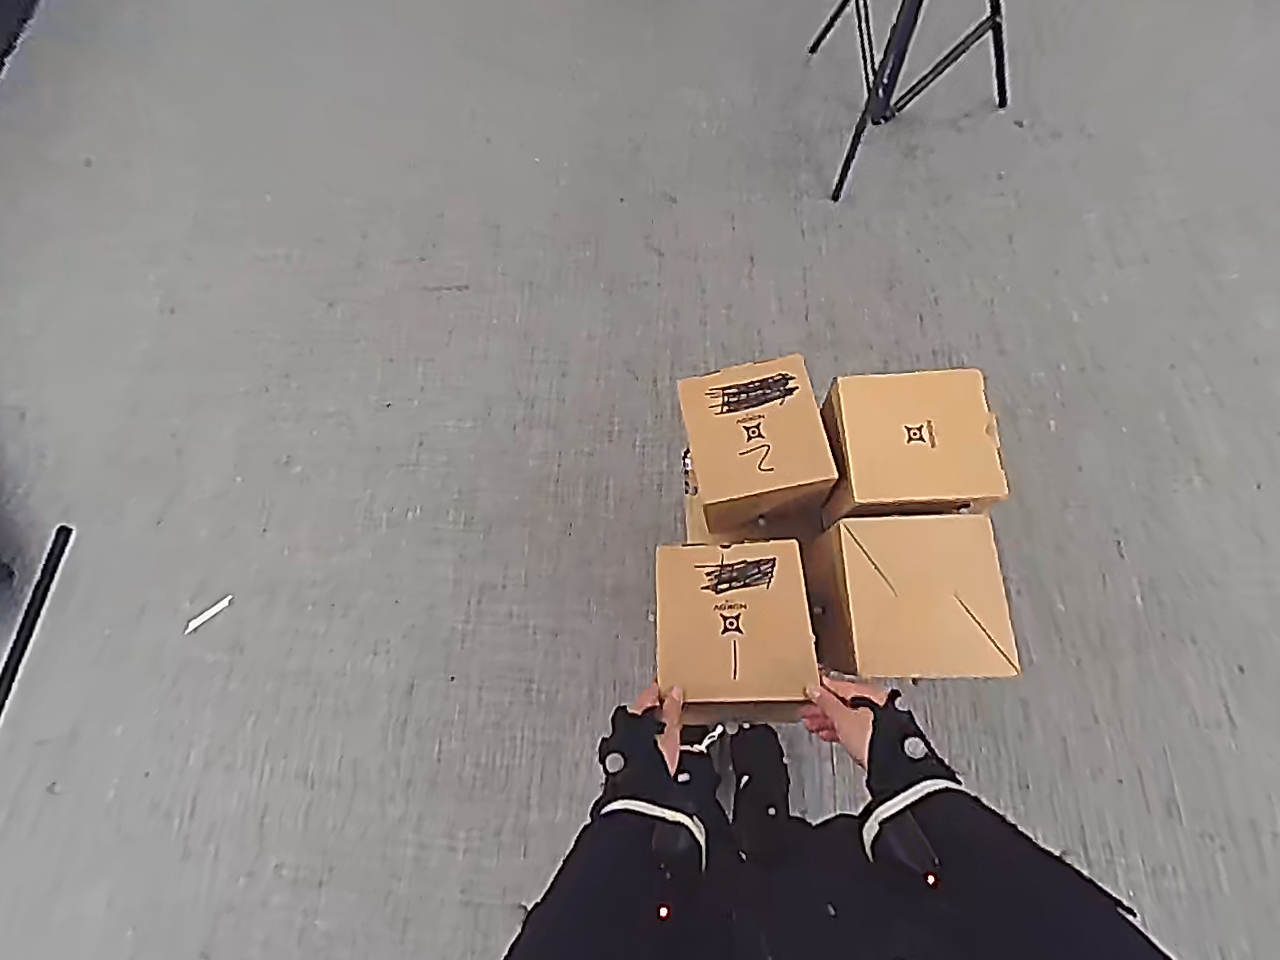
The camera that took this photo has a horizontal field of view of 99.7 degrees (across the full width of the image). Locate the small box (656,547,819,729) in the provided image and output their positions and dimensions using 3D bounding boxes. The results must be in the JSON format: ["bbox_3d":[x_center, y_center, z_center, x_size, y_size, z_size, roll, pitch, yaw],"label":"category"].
[{"bbox_3d":[0.109,0.196,0.657,0.168,0.176,0.179,-3,59,7],"label":"small box"}]
